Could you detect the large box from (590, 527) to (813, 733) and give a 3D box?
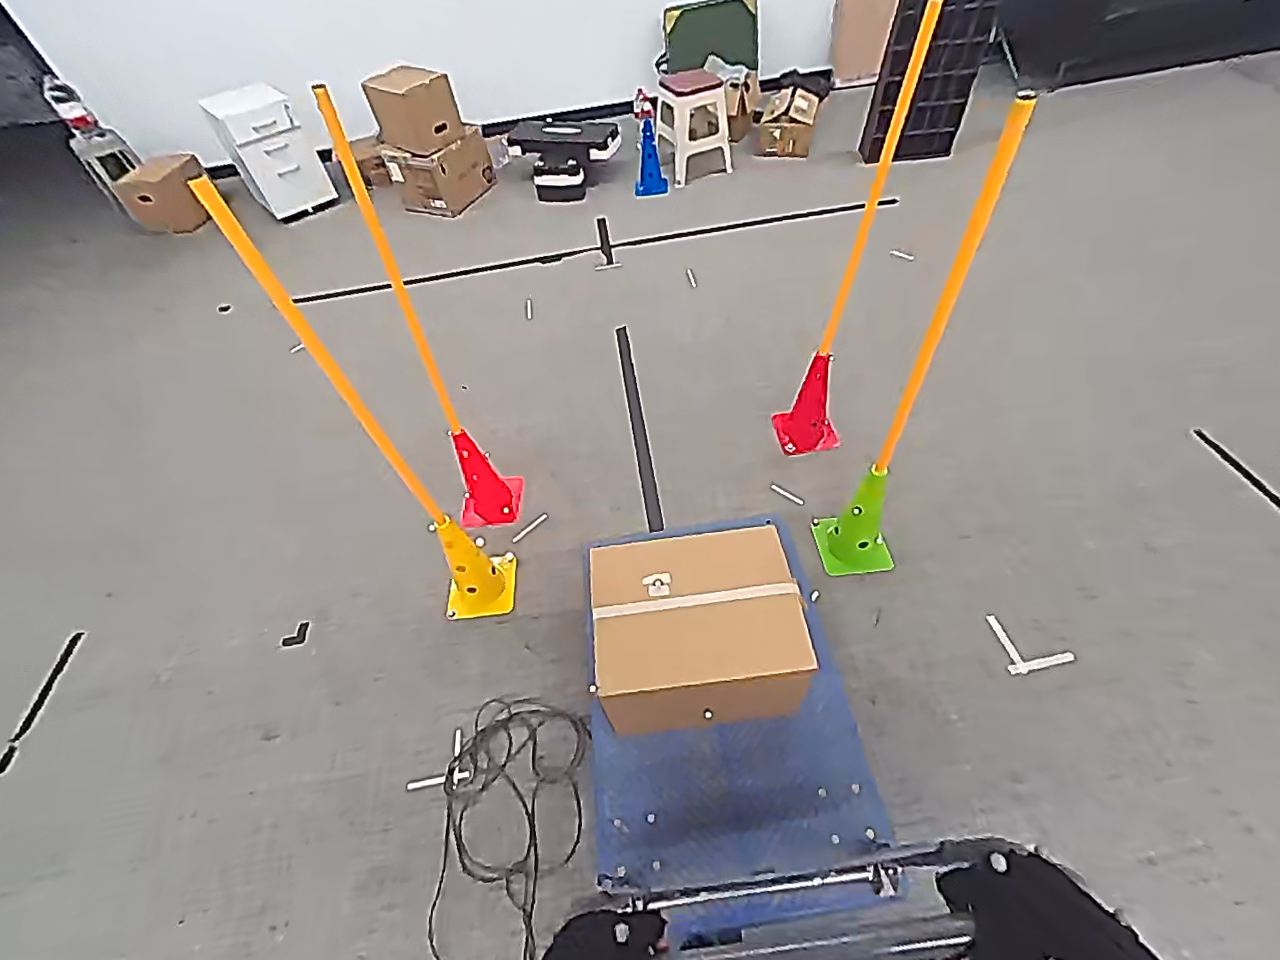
[{"bbox_3d":[0.120,0.337,1.186,0.408,0.320,0.320,-8,51,1],"label":"large box"}]

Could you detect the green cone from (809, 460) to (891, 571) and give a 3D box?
[{"bbox_3d":[0.625,0.080,1.517,0.202,0.368,0.200,-6,51,0],"label":"green cone"}]

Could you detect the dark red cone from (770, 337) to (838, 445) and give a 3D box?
[{"bbox_3d":[0.574,-0.306,1.807,0.201,0.394,0.202,-8,52,-3],"label":"dark red cone"}]

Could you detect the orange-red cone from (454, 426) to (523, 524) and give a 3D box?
[{"bbox_3d":[-0.526,-0.037,1.745,0.198,0.360,0.199,-3,50,3],"label":"orange-red cone"}]
